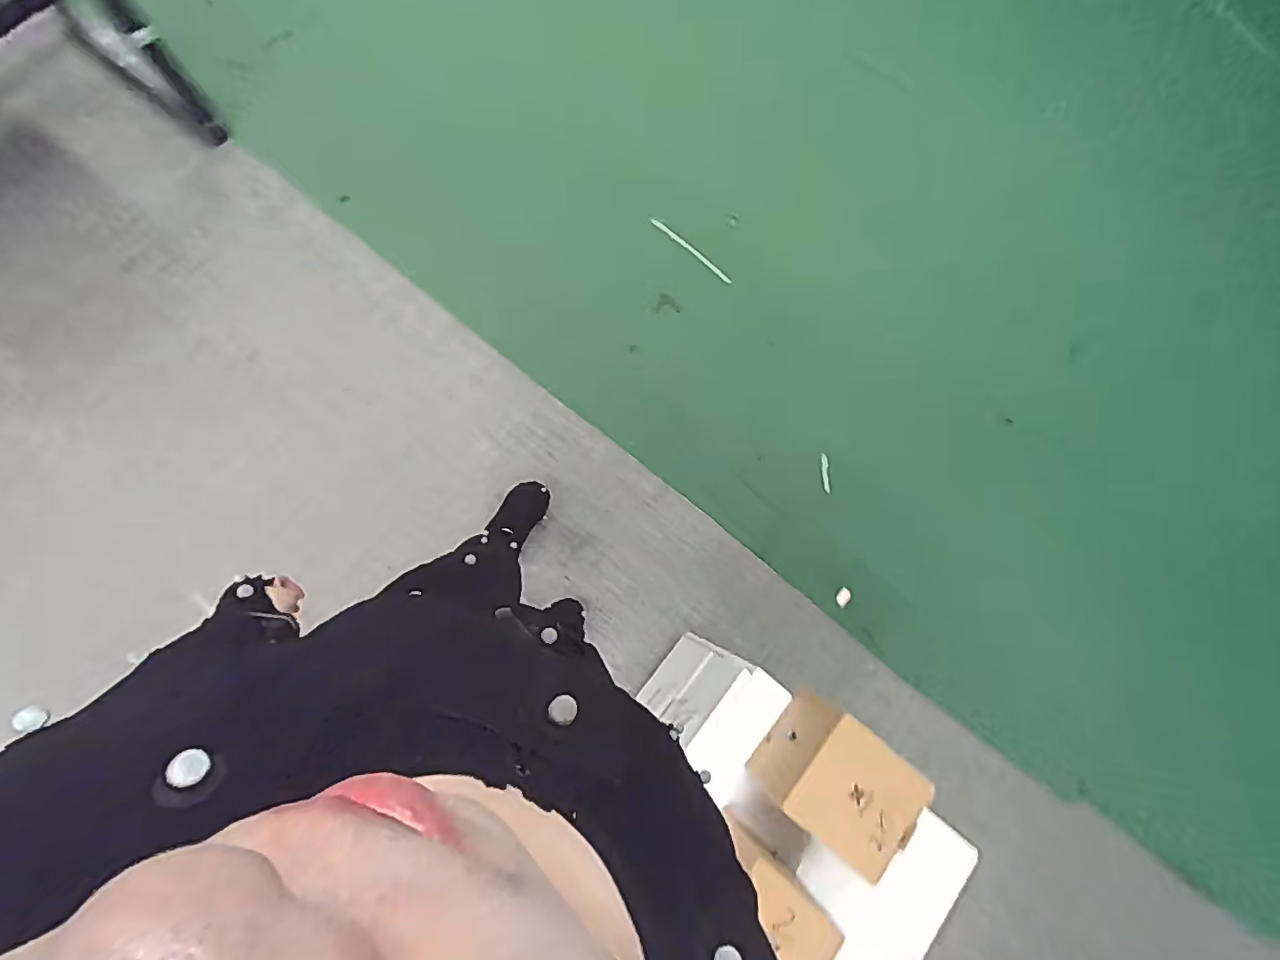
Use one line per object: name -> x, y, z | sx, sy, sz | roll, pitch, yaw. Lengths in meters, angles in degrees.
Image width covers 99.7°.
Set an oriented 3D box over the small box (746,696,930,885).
small box -> 0.296, 0.464, 0.847 | 0.179, 0.176, 0.168 | 41, 79, 0
